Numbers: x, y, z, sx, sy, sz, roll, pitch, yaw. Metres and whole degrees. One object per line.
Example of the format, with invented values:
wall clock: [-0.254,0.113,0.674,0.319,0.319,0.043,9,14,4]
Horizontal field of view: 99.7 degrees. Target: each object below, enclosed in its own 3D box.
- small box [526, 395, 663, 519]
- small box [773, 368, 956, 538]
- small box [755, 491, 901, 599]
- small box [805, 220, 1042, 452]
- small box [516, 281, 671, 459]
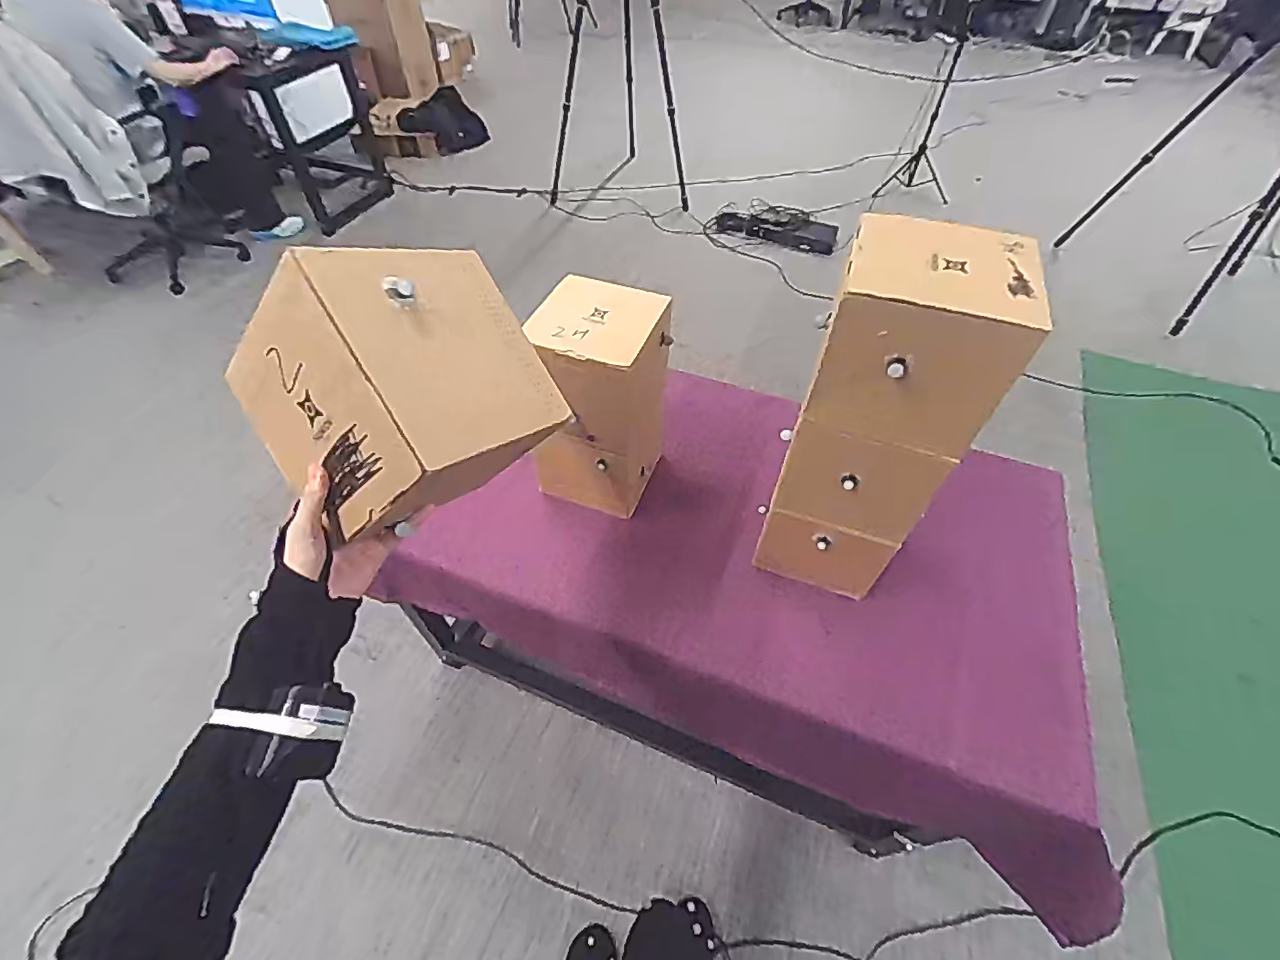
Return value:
small box: [-0.072,-0.057,0.933,0.179,0.176,0.168,17,52,12]
small box: [0.290,-0.046,0.712,0.179,0.176,0.168,17,53,14]
small box: [0.289,0.059,0.837,0.179,0.176,0.168,18,53,13]
small box: [0.290,-0.153,0.586,0.179,0.176,0.168,15,53,13]
small box: [-0.062,-0.163,0.806,0.168,0.176,0.179,16,52,13]
